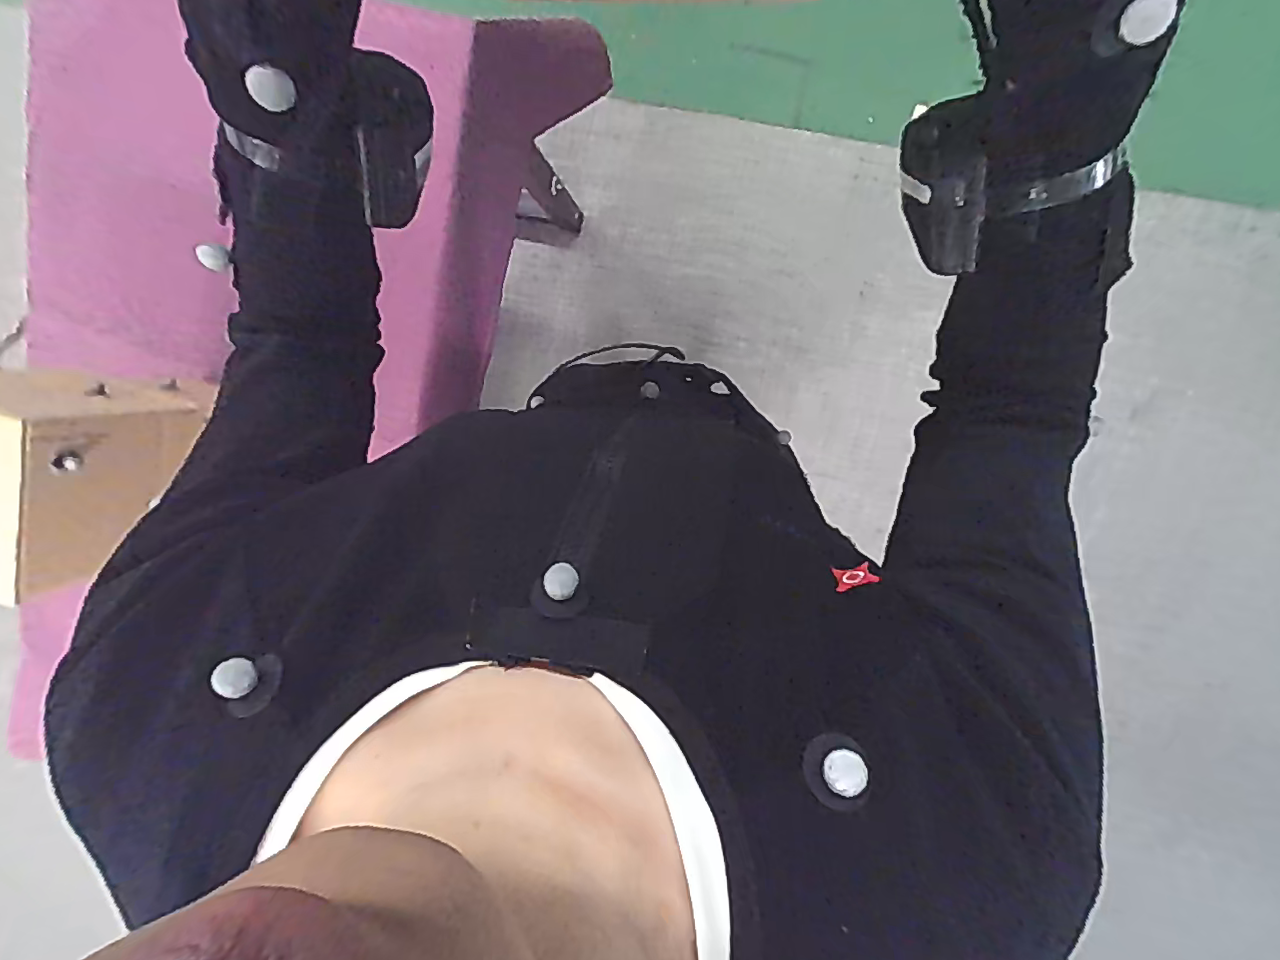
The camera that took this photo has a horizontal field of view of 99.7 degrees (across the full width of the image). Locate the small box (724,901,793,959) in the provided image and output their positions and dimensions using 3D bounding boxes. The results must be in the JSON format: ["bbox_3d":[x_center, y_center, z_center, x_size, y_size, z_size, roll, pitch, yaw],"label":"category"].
[{"bbox_3d":[0.346,1.400,1.588,0.168,0.176,0.179,12,100,4],"label":"small box"}]

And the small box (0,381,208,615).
[{"bbox_3d":[-0.588,0.004,0.549,0.168,0.176,0.179,16,101,4],"label":"small box"}]
